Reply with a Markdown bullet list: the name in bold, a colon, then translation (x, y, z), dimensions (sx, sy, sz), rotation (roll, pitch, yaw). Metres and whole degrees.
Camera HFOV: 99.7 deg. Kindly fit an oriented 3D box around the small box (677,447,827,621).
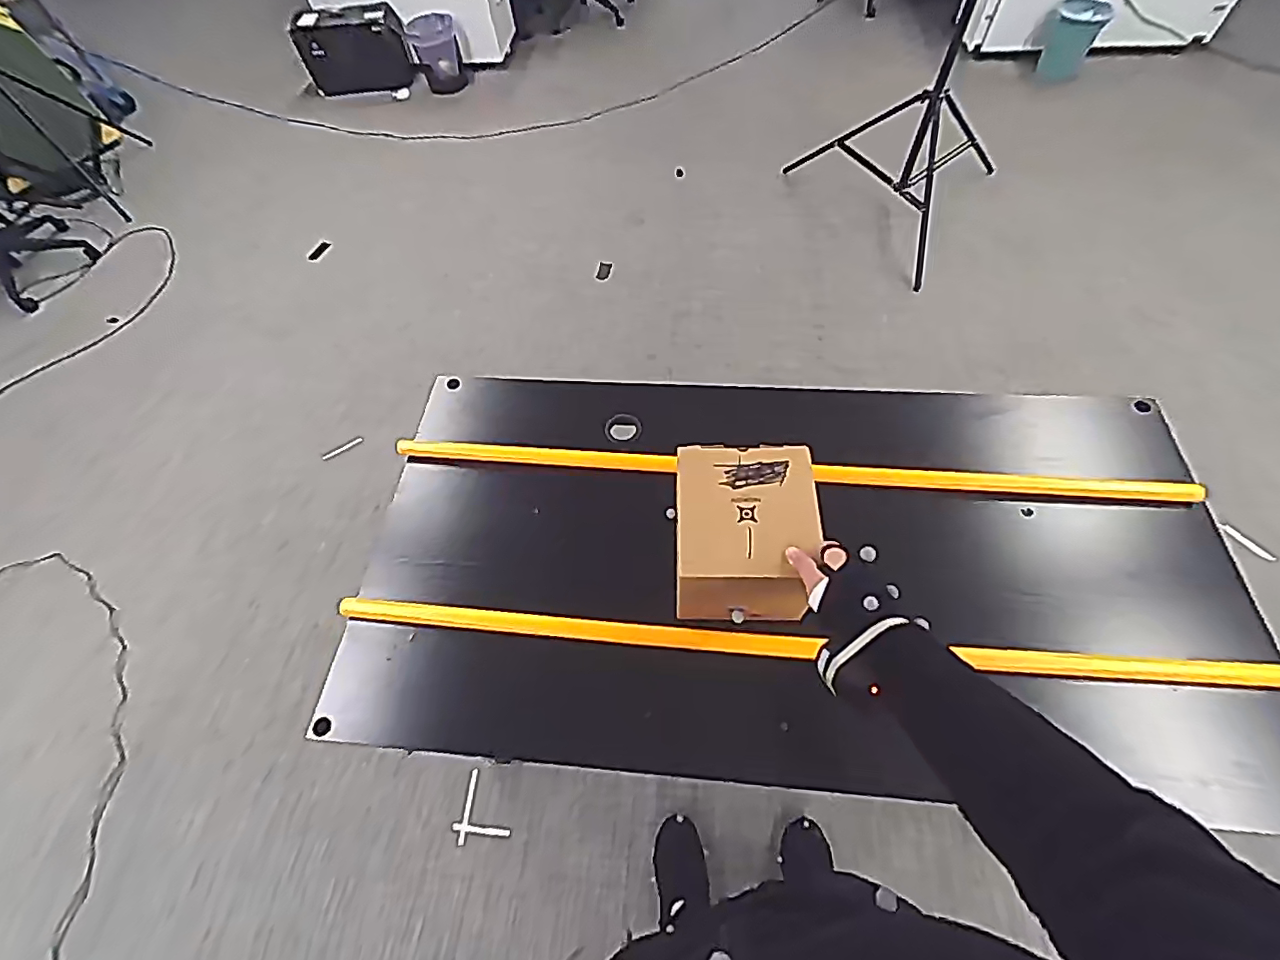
- **small box**: translation (0.133, 0.074, 0.709), dimensions (0.168, 0.176, 0.179), rotation (0, 60, 4)
